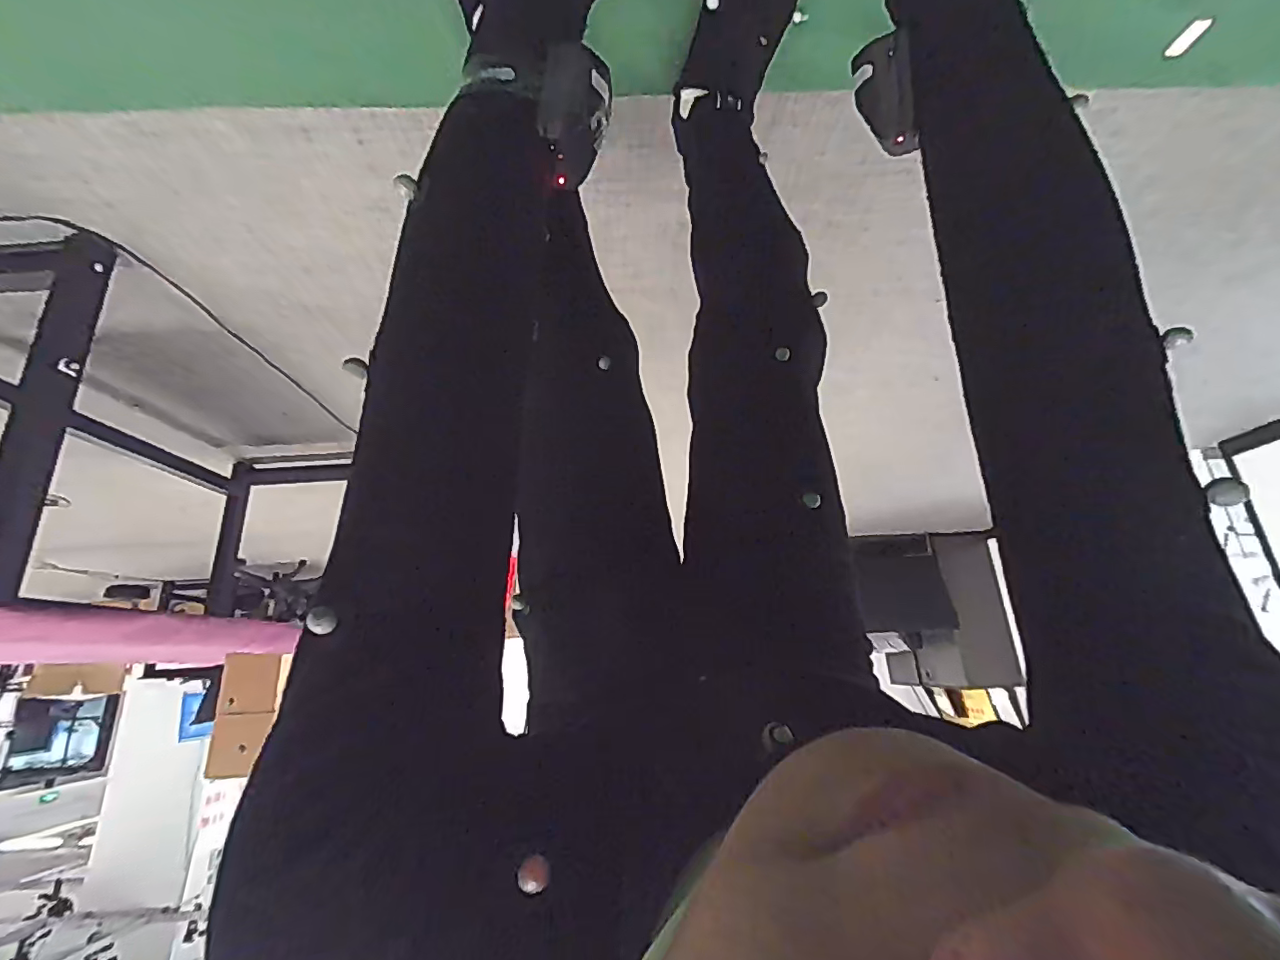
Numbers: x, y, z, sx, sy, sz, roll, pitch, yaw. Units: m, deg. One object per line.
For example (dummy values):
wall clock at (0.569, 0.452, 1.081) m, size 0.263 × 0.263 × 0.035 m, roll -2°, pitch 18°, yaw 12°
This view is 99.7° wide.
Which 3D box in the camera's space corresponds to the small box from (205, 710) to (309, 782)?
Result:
small box at (-1.103, 0.765, 1.571) m, size 0.179 × 0.176 × 0.168 m, roll -4°, pitch 162°, yaw 1°

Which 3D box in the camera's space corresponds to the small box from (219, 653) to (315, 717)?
small box at (-1.108, 0.610, 1.625) m, size 0.179 × 0.176 × 0.168 m, roll -3°, pitch 161°, yaw 1°
